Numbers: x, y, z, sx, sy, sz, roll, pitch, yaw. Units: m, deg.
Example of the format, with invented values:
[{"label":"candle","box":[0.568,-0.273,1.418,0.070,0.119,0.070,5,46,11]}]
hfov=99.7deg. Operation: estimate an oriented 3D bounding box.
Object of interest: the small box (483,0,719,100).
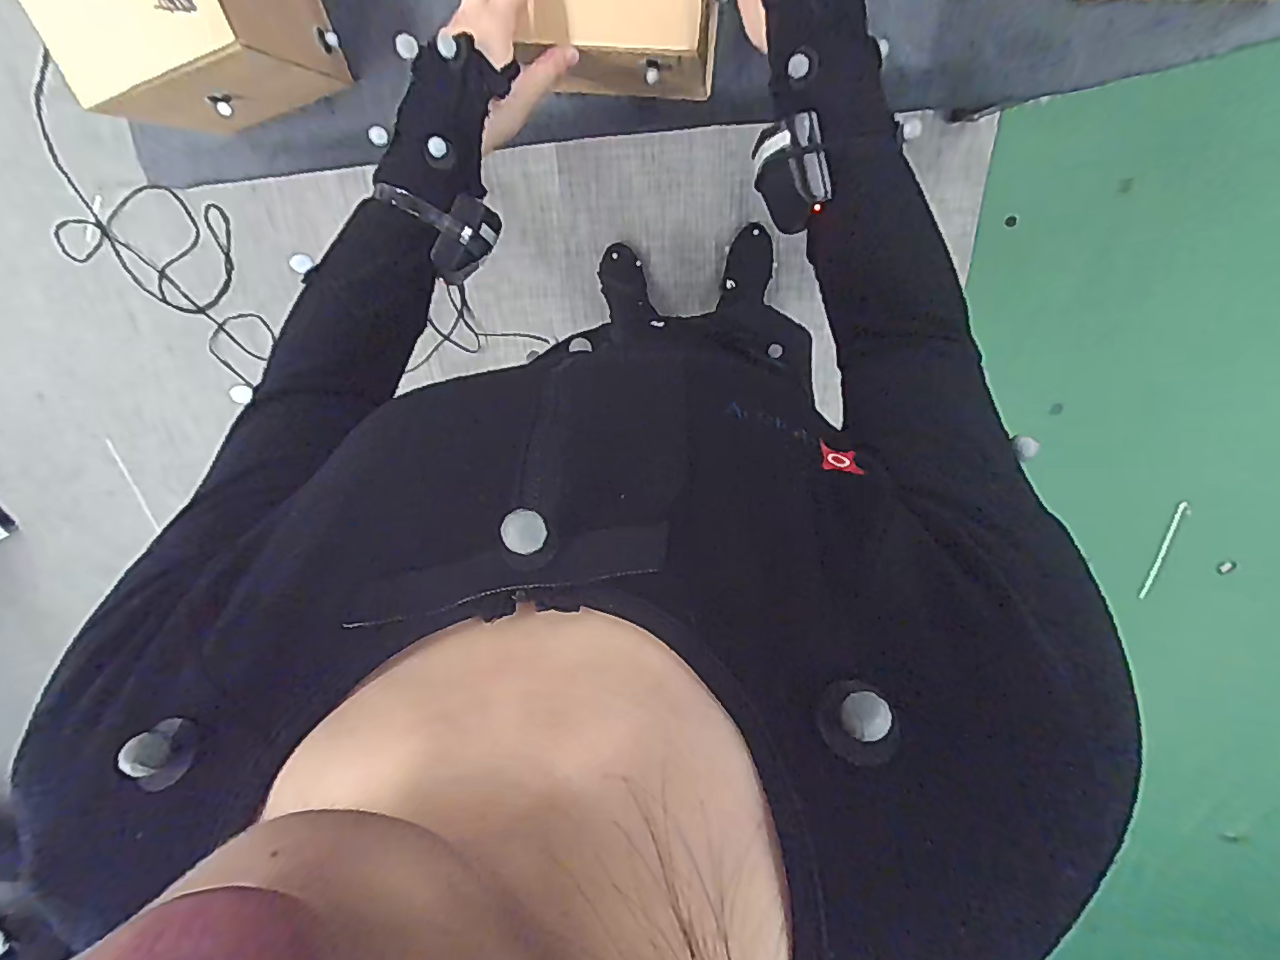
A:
[{"label":"small box","box":[-0.022,-0.440,0.460,0.179,0.176,0.168,7,116,5]}]

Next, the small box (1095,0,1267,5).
[{"label":"small box","box":[0.466,-0.467,0.376,0.179,0.176,0.168,5,113,6]}]

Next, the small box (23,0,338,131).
[{"label":"small box","box":[-0.421,-0.449,0.505,0.179,0.176,0.168,-10,115,13]}]
